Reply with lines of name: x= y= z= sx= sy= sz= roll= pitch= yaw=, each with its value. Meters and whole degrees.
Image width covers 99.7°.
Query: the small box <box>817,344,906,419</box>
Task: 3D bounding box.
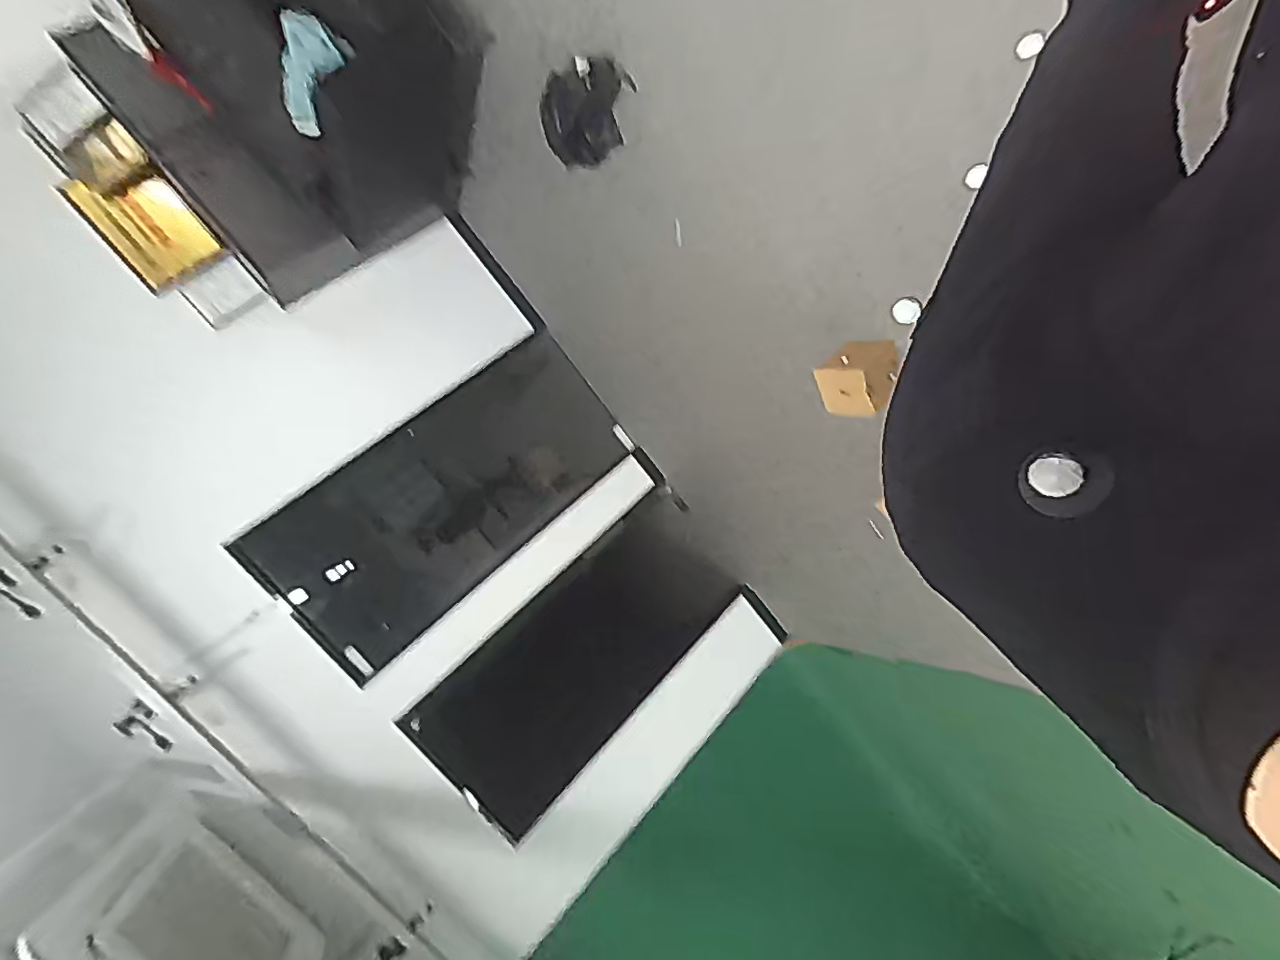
small box: x=0.688 y=-0.308 z=1.675 sx=0.179 sy=0.176 sz=0.168 roll=16 pitch=142 yaw=55
